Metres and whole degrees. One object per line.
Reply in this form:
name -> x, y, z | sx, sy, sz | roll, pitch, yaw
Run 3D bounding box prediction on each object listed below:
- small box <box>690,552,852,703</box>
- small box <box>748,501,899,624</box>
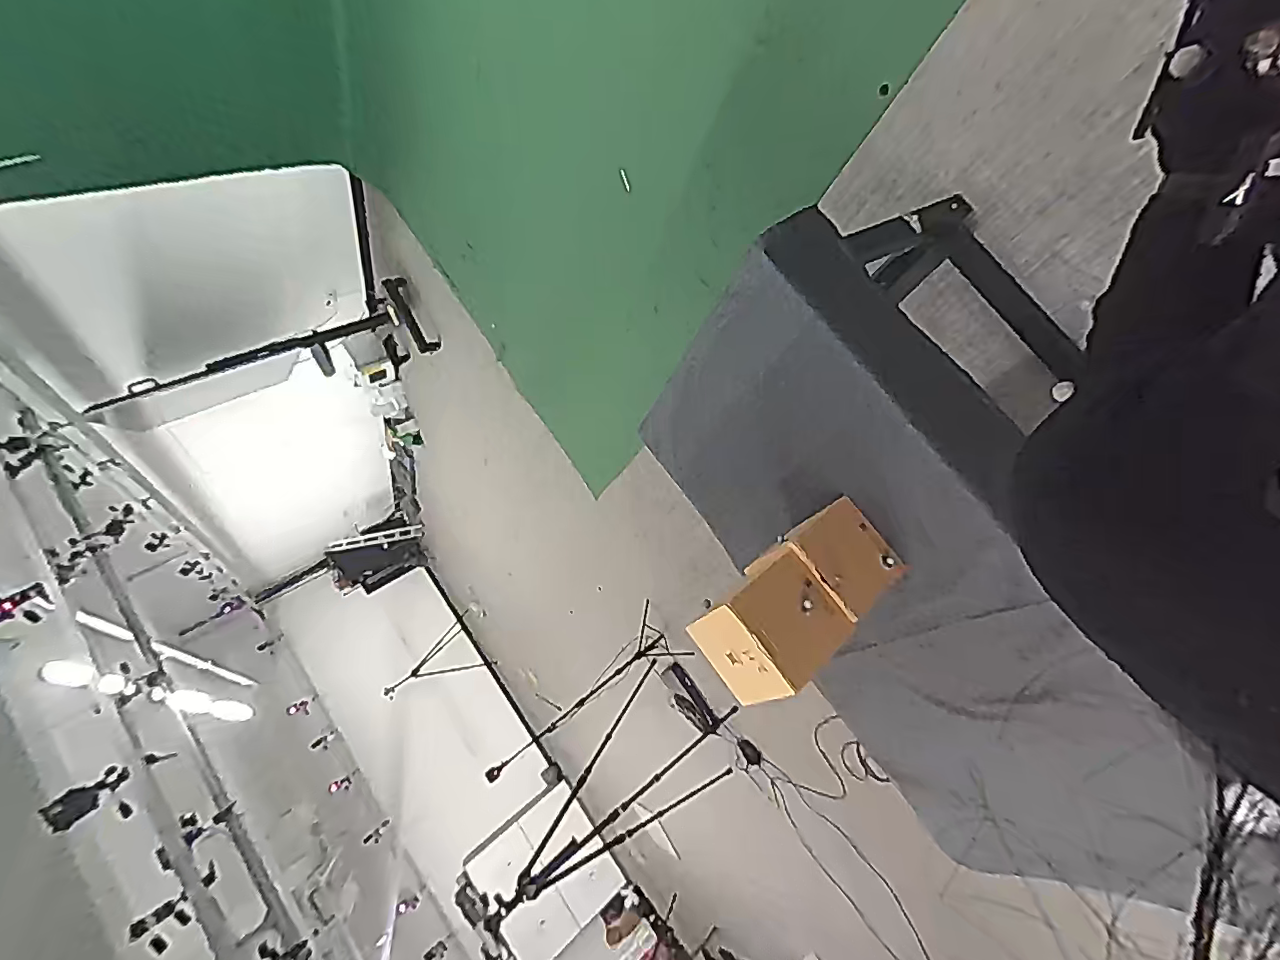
small box -> 0.222, 0.252, 0.923 | 0.168, 0.176, 0.179 | 52, 148, 12
small box -> 0.342, 0.164, 0.996 | 0.168, 0.176, 0.179 | 54, 150, 11
